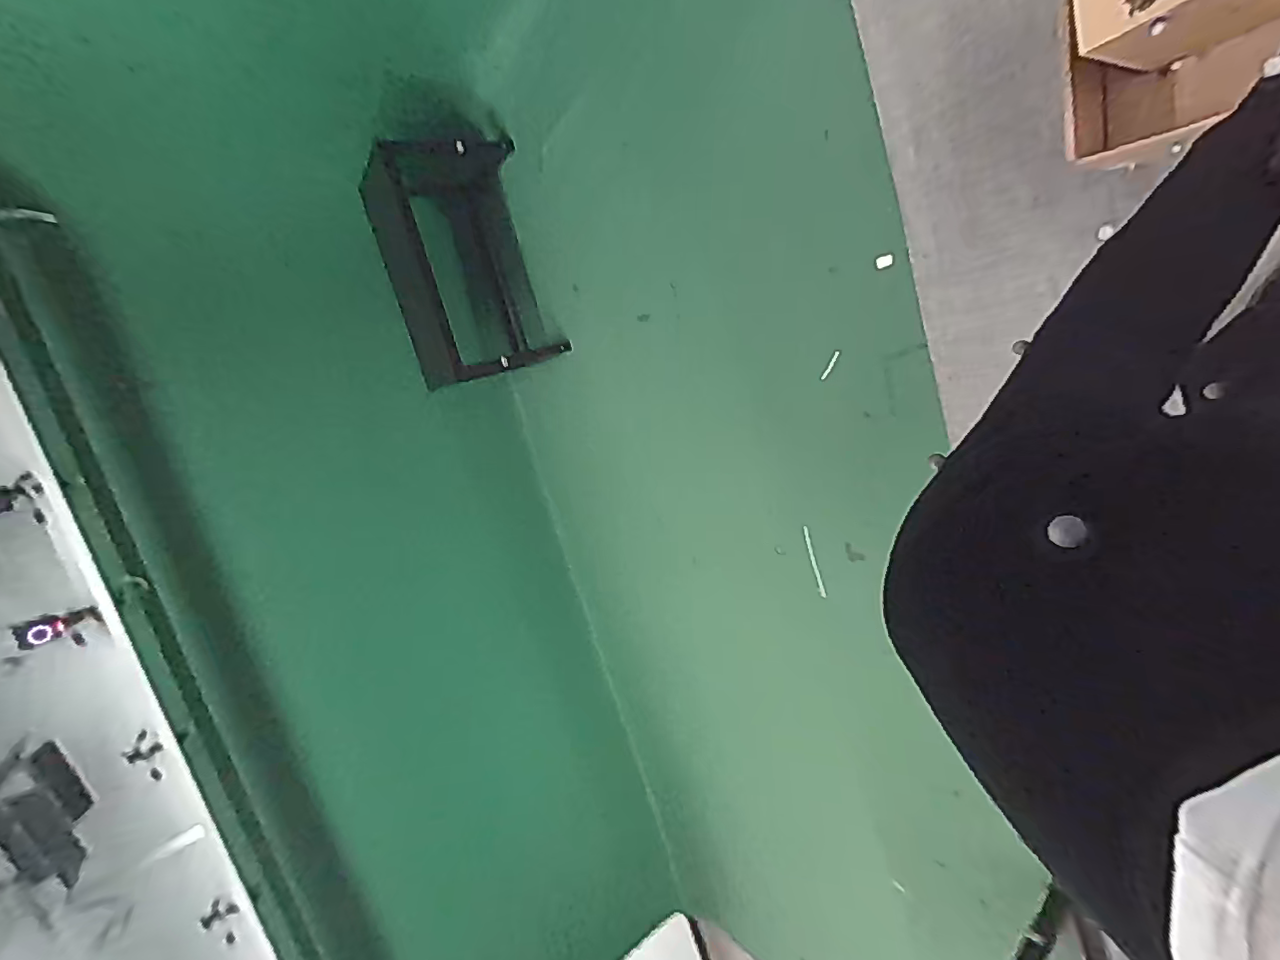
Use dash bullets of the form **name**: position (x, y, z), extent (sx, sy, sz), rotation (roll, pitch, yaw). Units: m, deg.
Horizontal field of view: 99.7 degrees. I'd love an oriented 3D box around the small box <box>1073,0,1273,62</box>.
- **small box**: position (0.598, -0.599, 0.588), extent (0.168, 0.176, 0.179), rotation (2, 110, 56)
